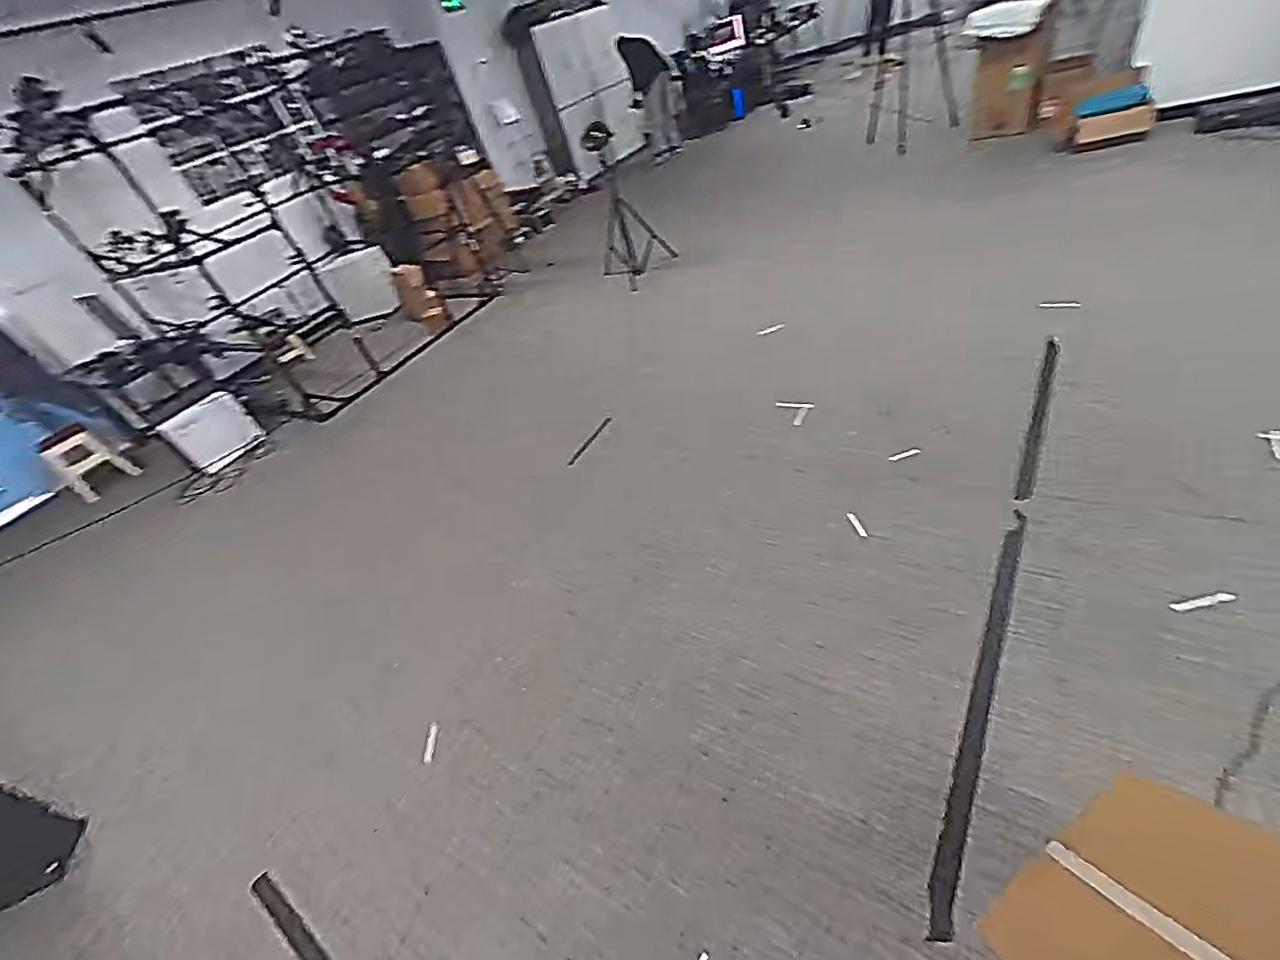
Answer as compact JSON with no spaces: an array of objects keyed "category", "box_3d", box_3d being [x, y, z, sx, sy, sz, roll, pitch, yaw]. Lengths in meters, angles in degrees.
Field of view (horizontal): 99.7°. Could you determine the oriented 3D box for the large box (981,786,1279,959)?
[{"category":"large box","box_3d":[0.654,0.592,0.521,0.320,0.408,0.320,-41,78,-3]}]
